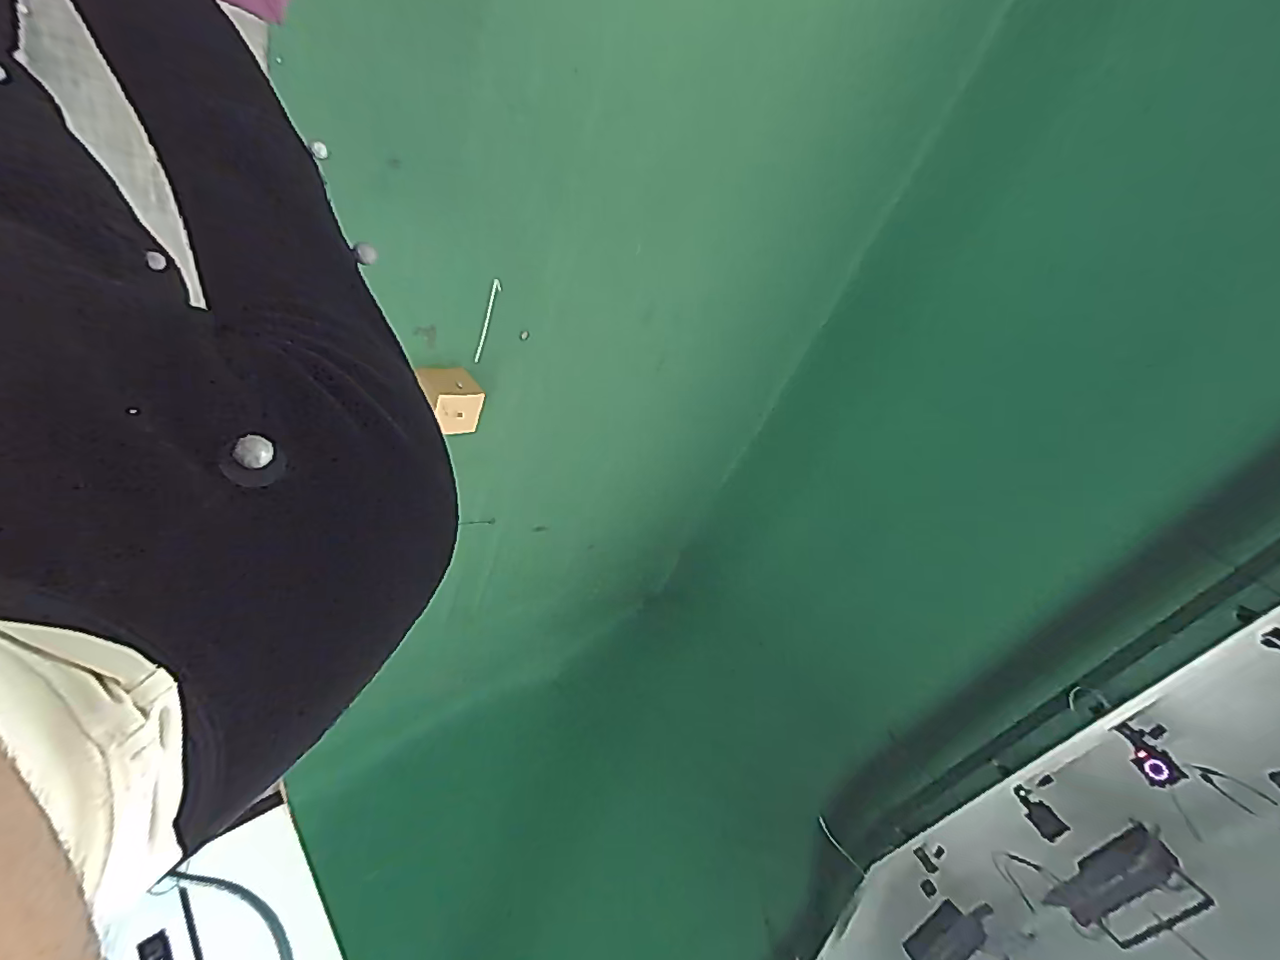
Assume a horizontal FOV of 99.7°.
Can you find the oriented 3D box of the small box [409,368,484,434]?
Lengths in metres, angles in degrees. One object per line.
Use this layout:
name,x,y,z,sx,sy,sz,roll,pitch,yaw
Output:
small box,-0.682,-0.281,1.899,0.179,0.176,0.168,-11,138,-46
